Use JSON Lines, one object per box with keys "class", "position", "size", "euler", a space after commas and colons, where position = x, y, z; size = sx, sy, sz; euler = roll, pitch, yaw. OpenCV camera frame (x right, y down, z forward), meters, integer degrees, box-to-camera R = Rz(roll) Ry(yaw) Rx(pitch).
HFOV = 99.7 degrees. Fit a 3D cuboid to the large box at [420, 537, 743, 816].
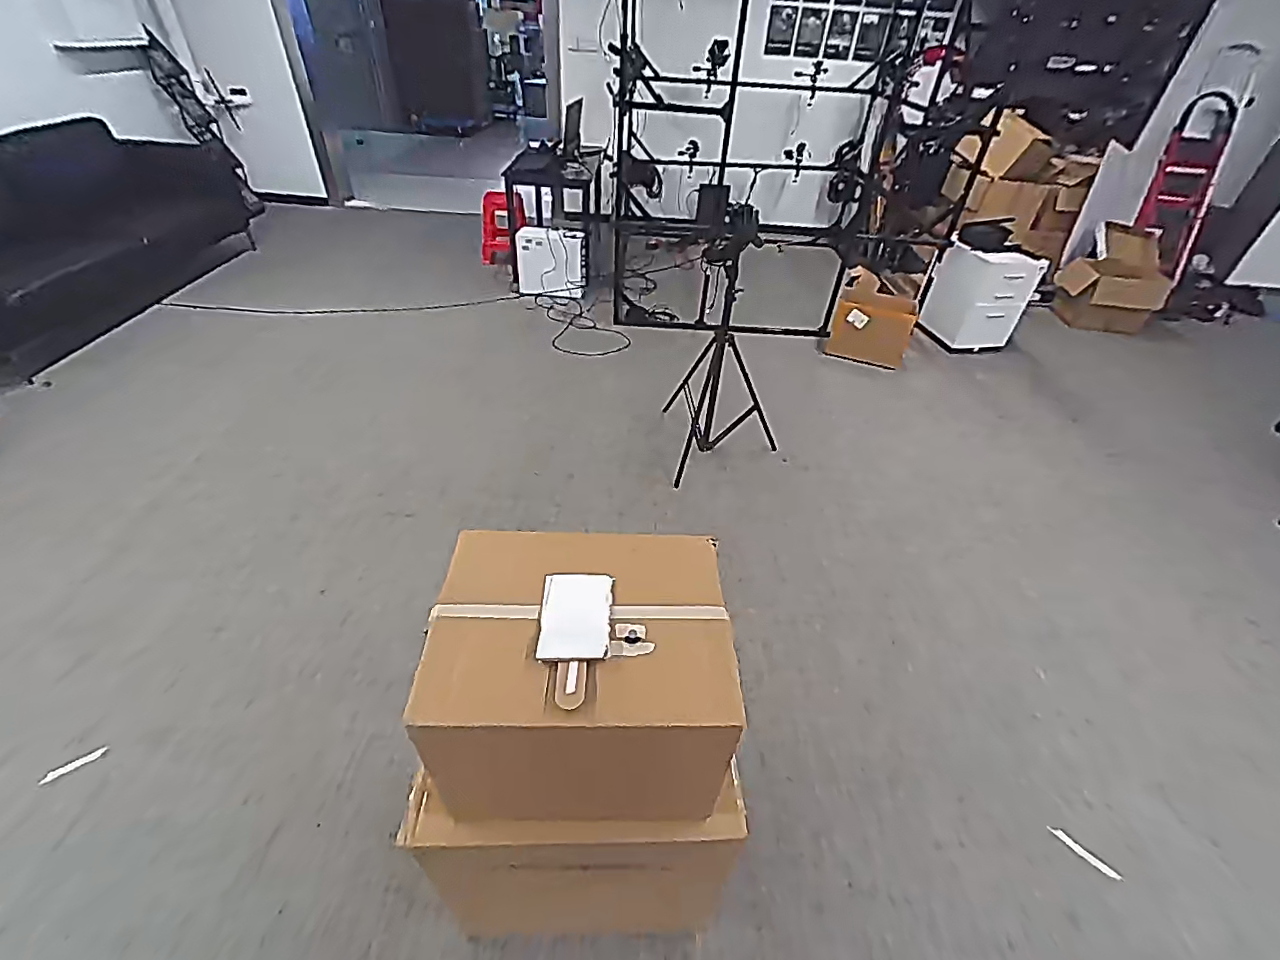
{"class": "large box", "position": [-0.085, 0.309, 0.864], "size": [0.408, 0.320, 0.320], "euler": [2, 40, -4]}
